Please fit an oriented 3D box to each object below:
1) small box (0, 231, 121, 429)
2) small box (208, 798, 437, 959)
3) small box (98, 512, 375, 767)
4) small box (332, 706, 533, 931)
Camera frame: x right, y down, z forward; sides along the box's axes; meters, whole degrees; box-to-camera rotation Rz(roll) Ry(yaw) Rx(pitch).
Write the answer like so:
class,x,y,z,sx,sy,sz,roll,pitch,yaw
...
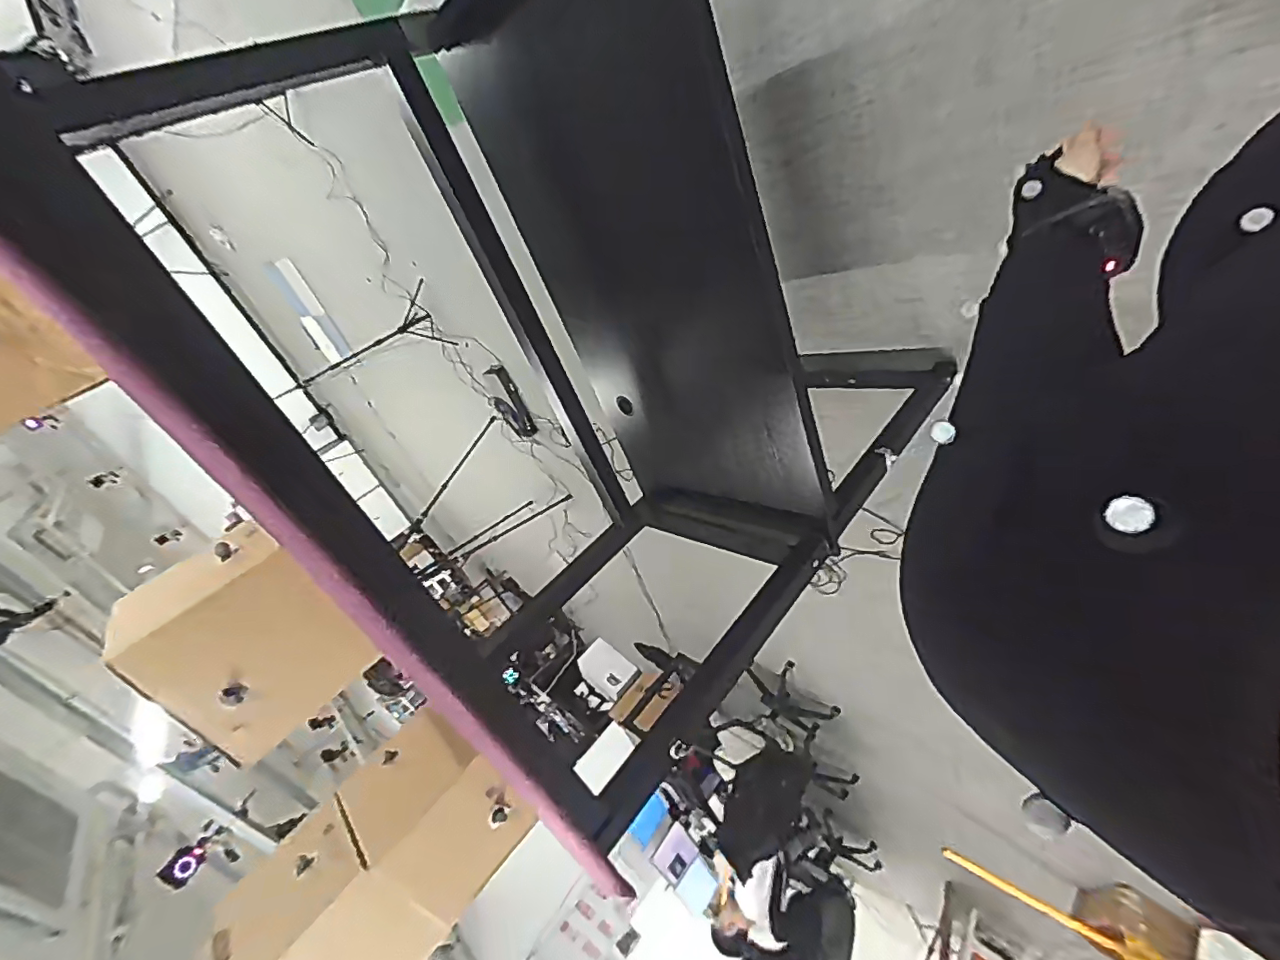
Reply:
class,x,y,z,sx,sy,sz,roll,pitch,yaw
small box,-0.561,-0.120,0.423,0.179,0.176,0.168,17,141,47
small box,-0.387,0.548,0.671,0.168,0.176,0.179,7,132,50
small box,-0.433,0.165,0.603,0.168,0.176,0.179,14,137,48
small box,-0.280,0.446,0.745,0.179,0.176,0.168,7,133,49
